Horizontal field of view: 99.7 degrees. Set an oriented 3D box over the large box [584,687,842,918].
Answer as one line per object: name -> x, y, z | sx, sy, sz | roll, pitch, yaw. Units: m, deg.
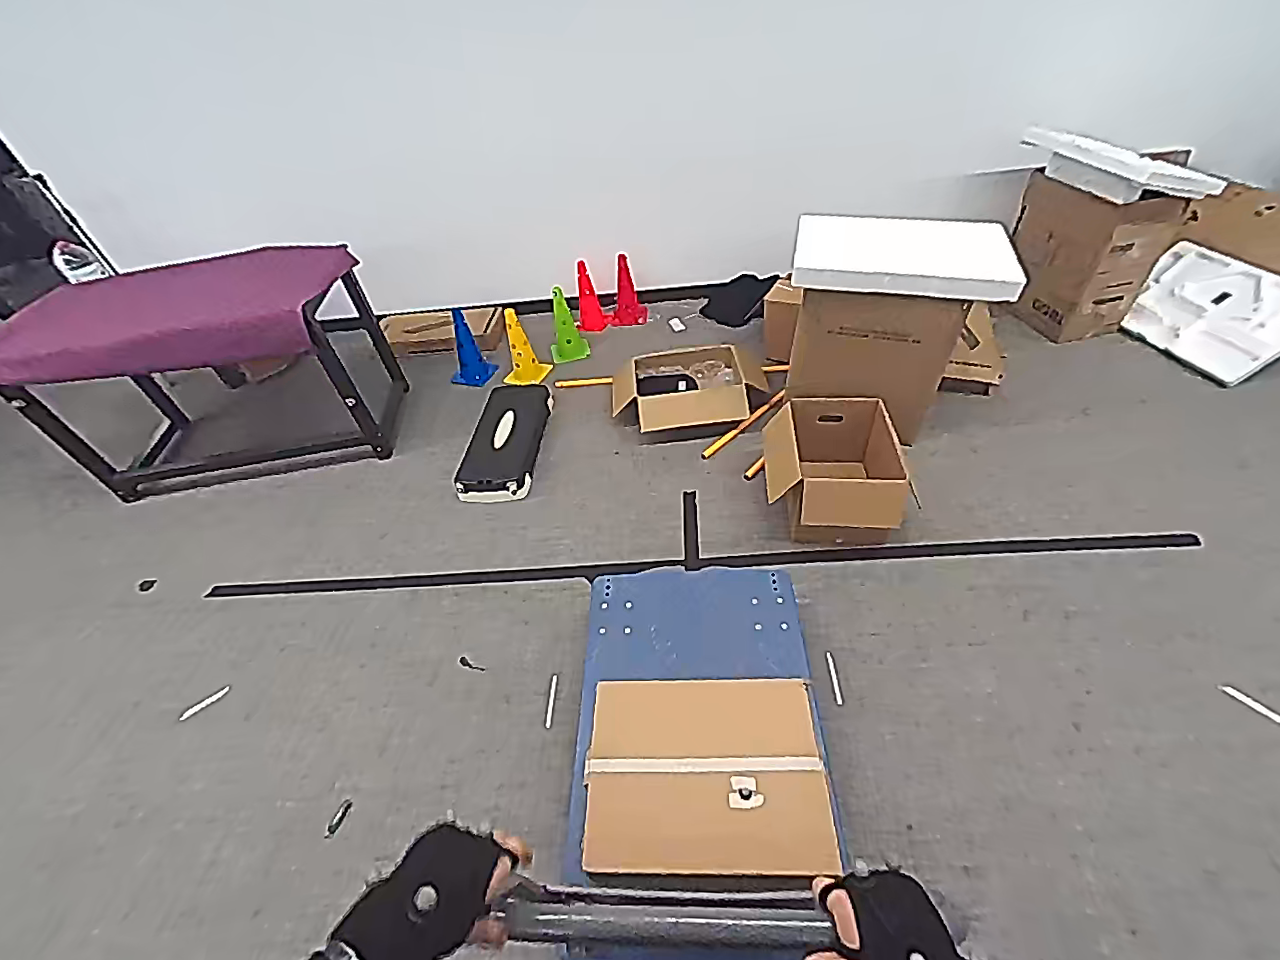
large box -> 0.120, 0.618, 1.035 | 0.408, 0.320, 0.320 | -2, 45, 4
